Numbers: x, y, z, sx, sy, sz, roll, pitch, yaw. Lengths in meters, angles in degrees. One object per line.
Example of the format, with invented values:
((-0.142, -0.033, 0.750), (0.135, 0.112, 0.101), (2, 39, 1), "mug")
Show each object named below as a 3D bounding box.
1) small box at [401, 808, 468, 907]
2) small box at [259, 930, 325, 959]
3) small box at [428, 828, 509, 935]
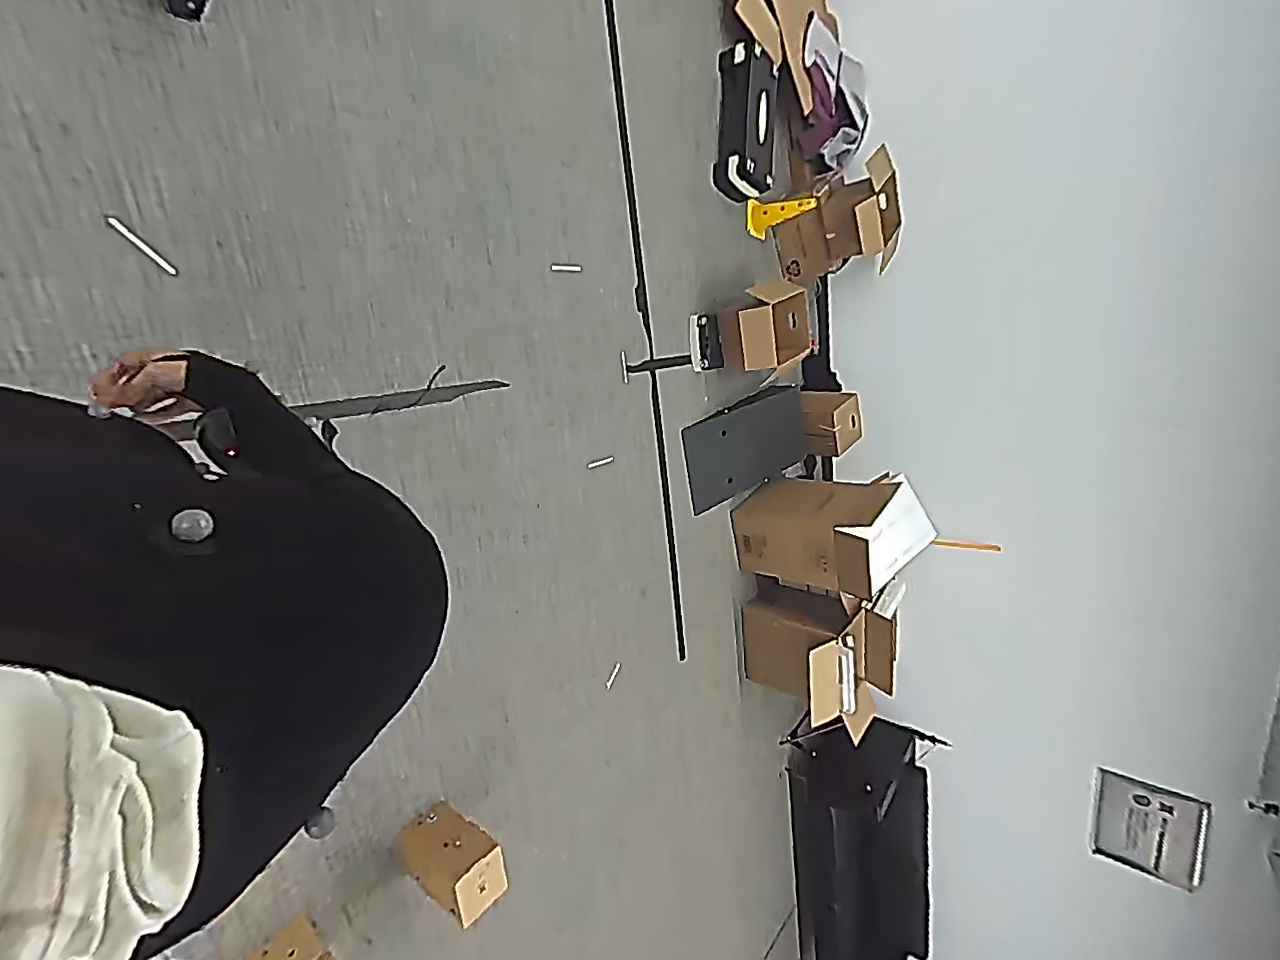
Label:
((-0.668, 1.245, 1.800), (0.168, 0.176, 0.179), (-20, 109, -48), "small box")
((-0.956, 1.391, 1.477), (0.168, 0.176, 0.179), (-26, 114, -45), "small box")
((-0.538, 1.250, 1.699), (0.168, 0.176, 0.179), (-20, 109, -48), "small box")
